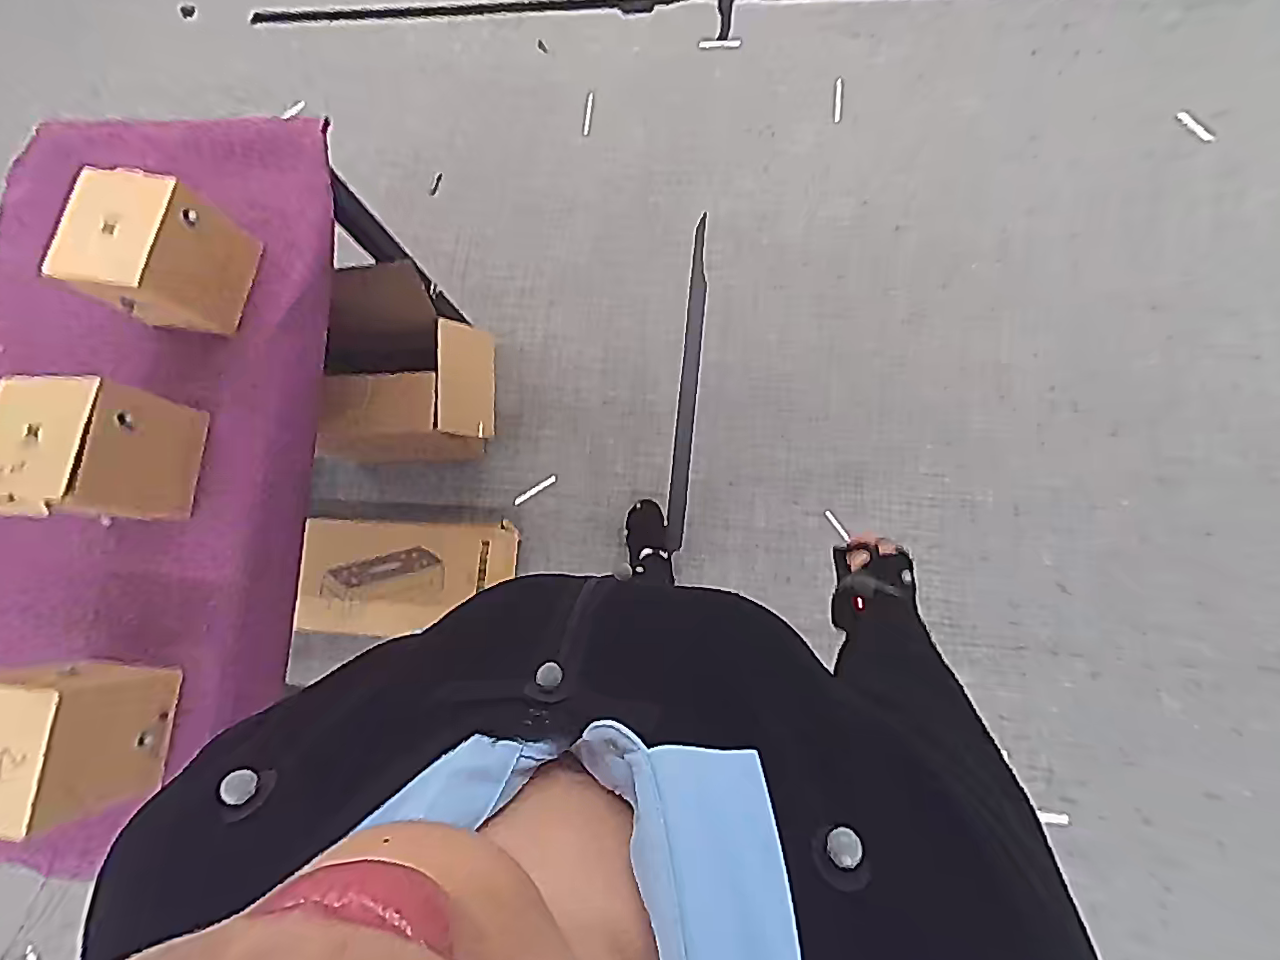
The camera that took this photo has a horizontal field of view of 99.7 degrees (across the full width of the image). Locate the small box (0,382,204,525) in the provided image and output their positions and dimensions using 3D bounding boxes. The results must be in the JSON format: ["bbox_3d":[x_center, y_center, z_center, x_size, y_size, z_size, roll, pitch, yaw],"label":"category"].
[{"bbox_3d":[-0.798,-0.033,0.798,0.168,0.176,0.179,1,79,9],"label":"small box"}]

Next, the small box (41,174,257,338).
[{"bbox_3d":[-0.757,-0.343,0.856,0.168,0.176,0.179,9,80,8],"label":"small box"}]
